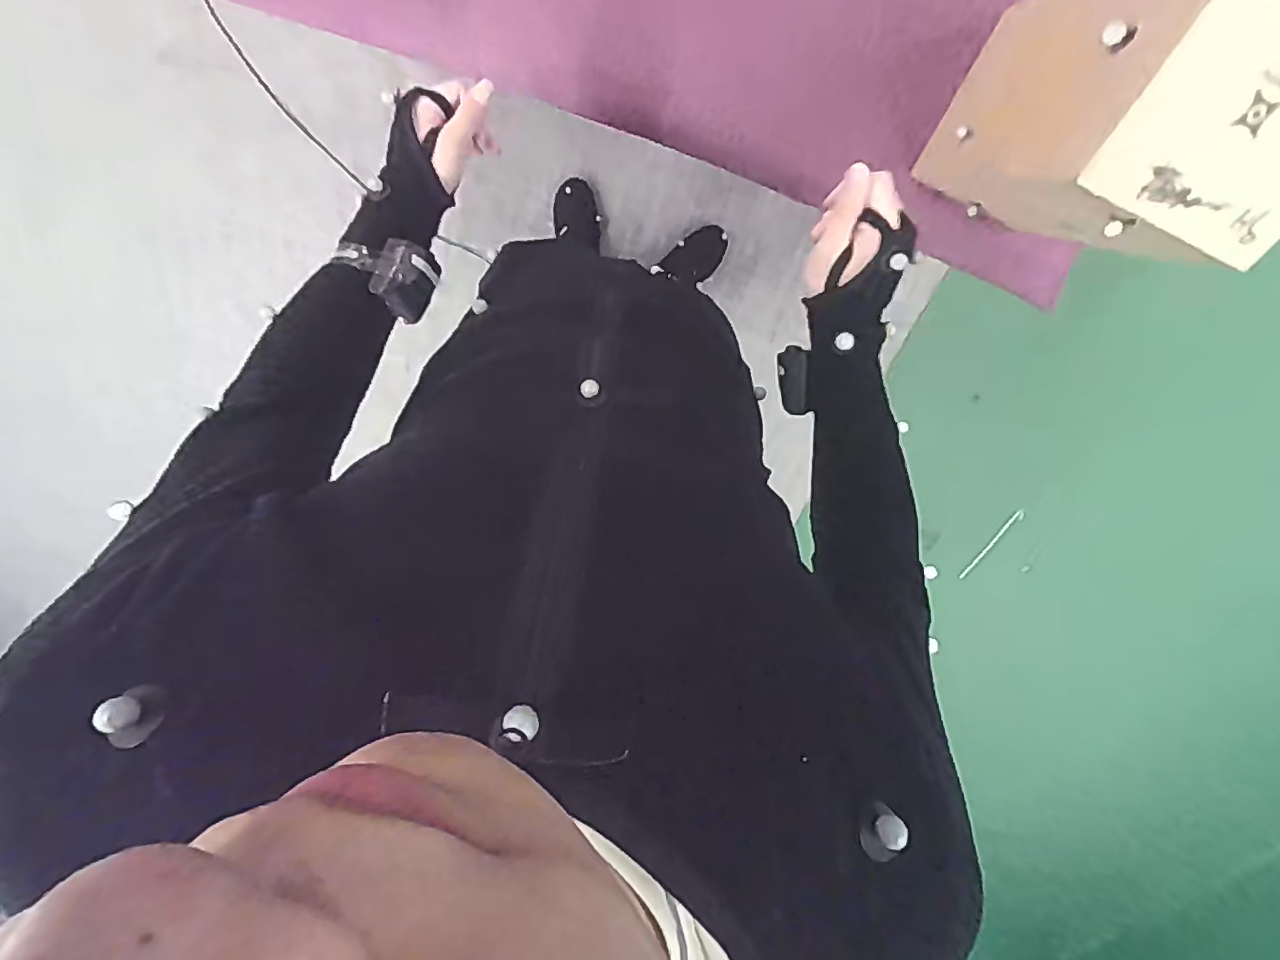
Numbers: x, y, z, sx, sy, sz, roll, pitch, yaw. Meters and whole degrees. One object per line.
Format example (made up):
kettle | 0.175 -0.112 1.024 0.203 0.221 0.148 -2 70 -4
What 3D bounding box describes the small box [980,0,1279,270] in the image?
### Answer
small box | 0.428 -0.300 0.439 0.168 0.176 0.179 22 119 -8
